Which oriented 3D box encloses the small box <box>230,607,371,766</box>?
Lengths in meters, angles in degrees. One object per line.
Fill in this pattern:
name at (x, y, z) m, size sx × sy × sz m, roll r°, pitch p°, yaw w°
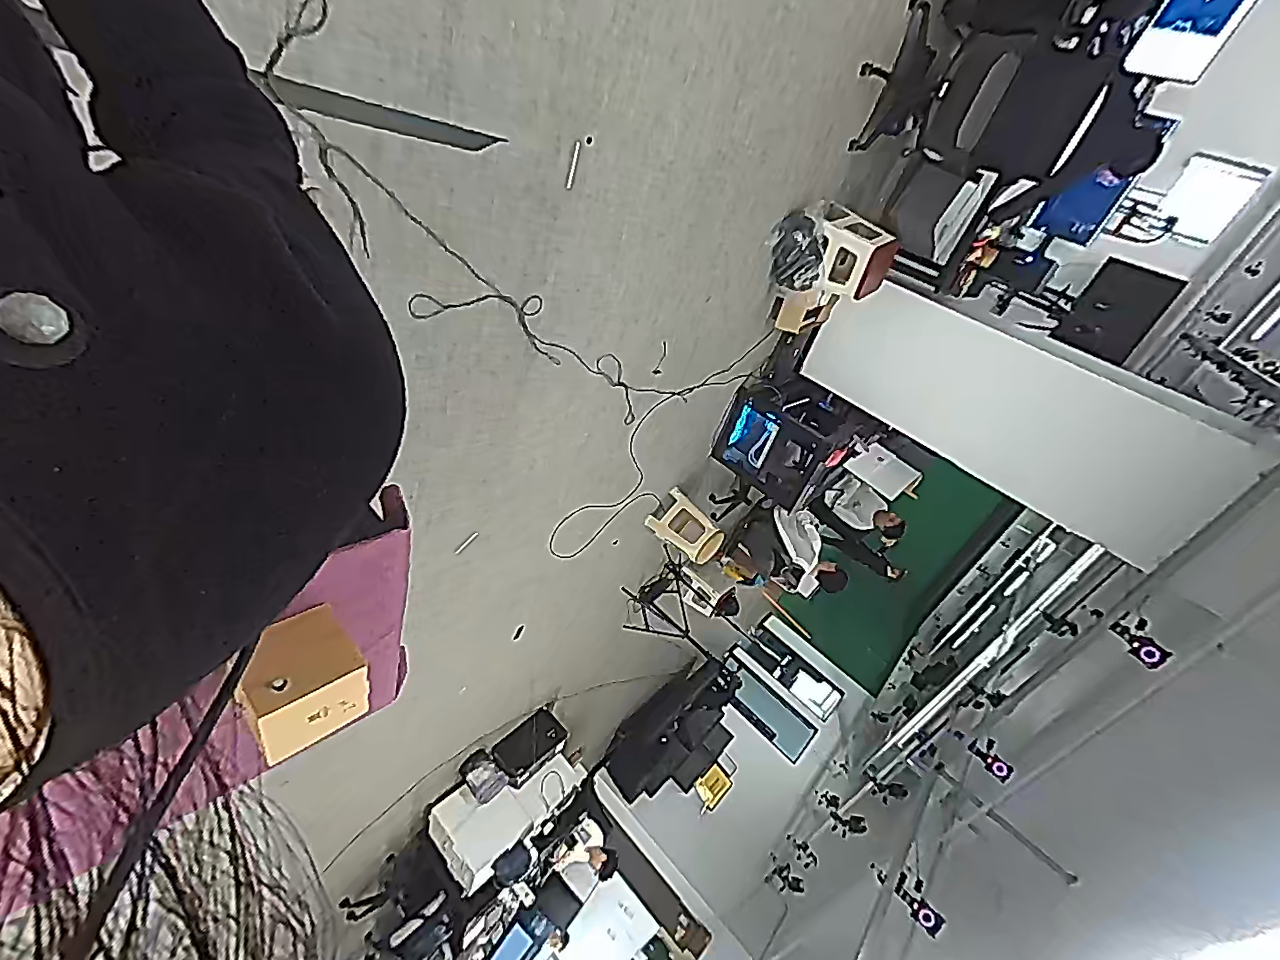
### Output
small box at (-0.621, 0.371, 0.993) m, size 0.179 × 0.176 × 0.168 m, roll -24°, pitch 144°, yaw -44°
